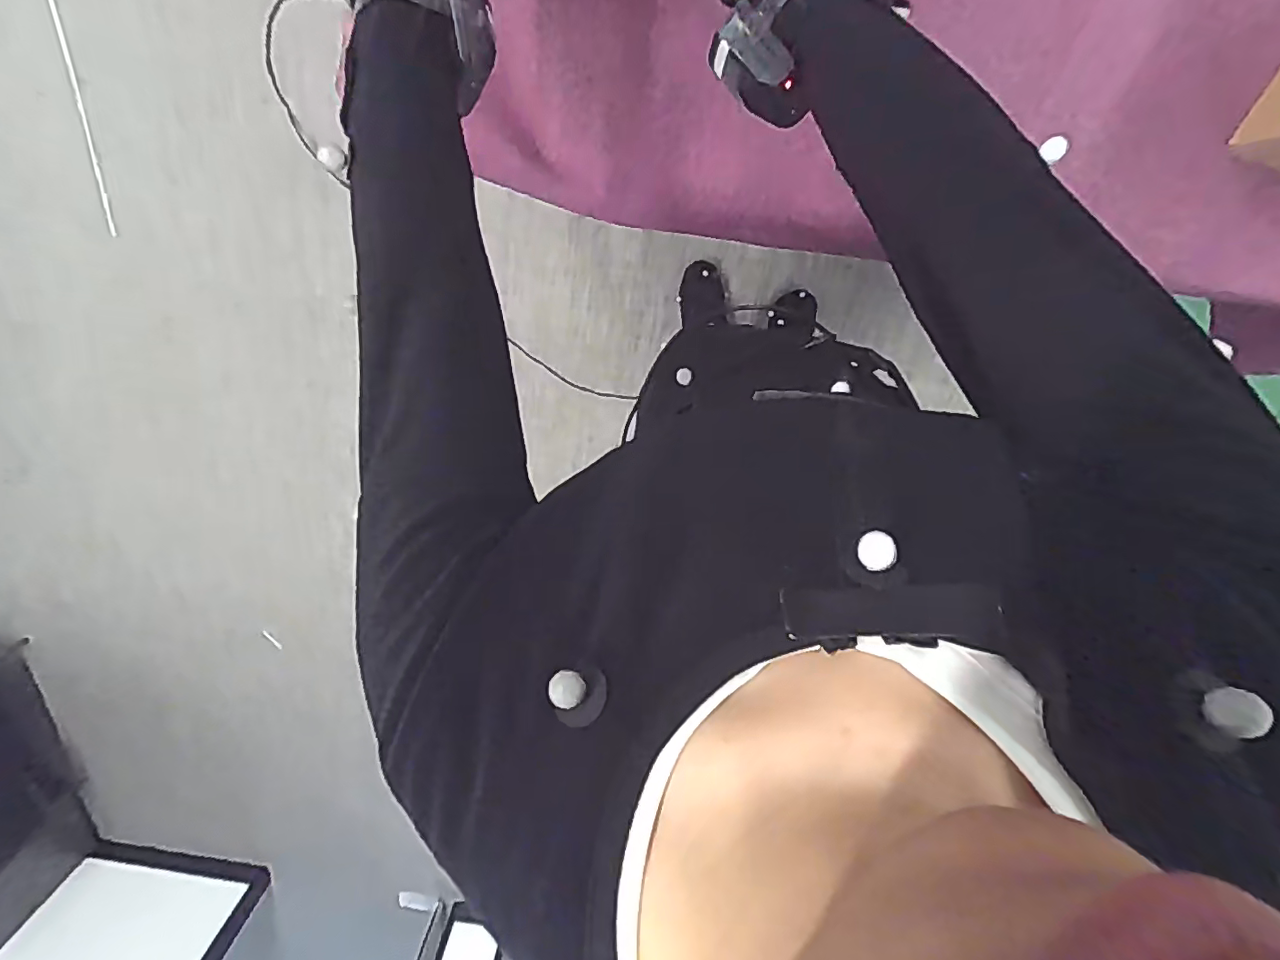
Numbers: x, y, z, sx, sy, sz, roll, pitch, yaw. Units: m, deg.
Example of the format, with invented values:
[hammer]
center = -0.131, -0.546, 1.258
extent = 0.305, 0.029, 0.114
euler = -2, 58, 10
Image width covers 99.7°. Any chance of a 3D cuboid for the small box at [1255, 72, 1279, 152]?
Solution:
[small box]
center = 0.683, -0.350, 0.433
extent = 0.168, 0.176, 0.179
euler = 19, 115, -4
